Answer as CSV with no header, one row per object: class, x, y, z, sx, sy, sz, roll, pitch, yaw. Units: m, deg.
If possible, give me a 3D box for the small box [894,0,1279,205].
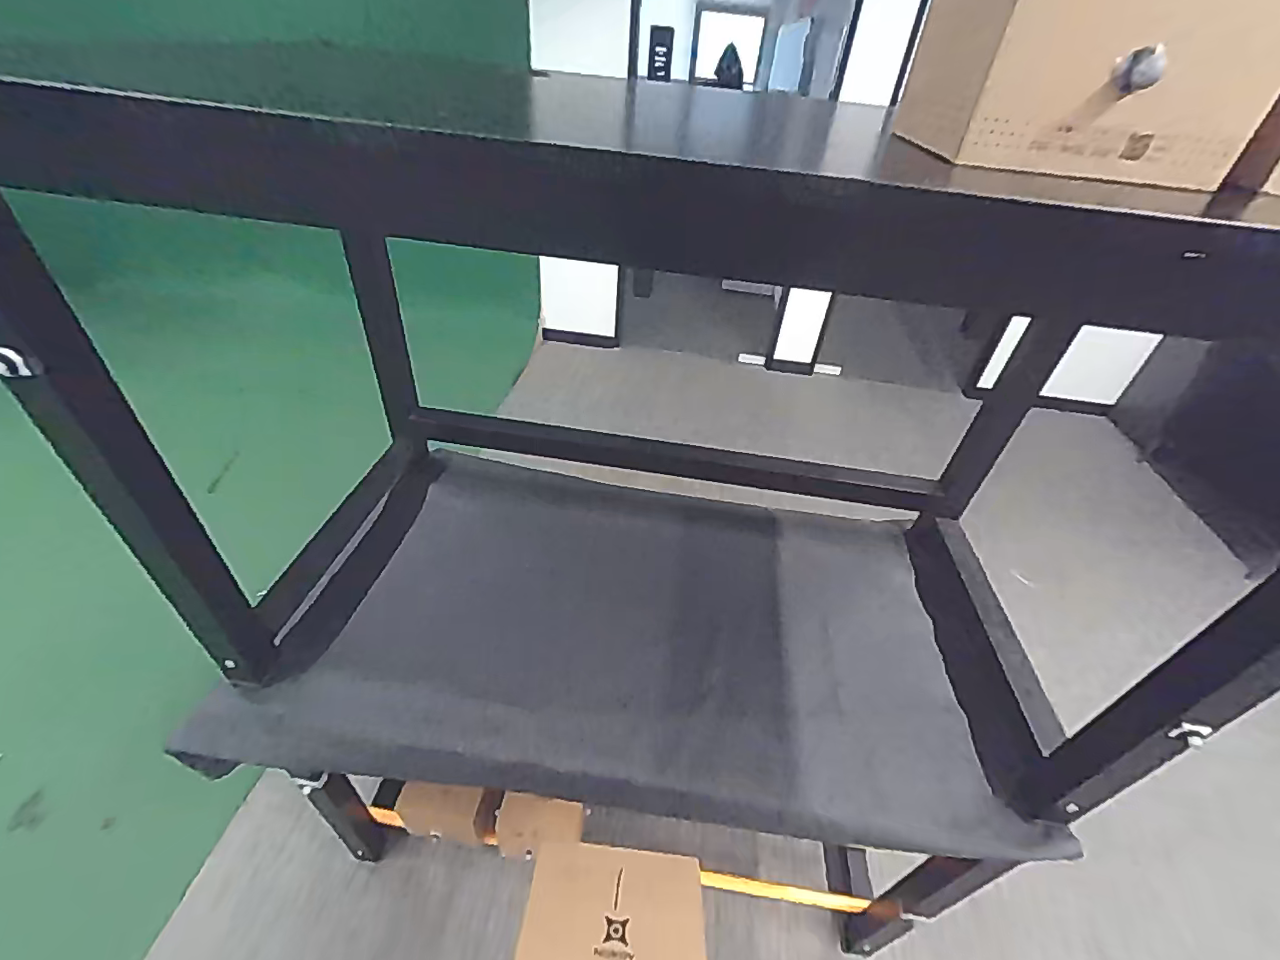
small box,0.298,-0.305,0.369,0.168,0.176,0.179,8,40,3
